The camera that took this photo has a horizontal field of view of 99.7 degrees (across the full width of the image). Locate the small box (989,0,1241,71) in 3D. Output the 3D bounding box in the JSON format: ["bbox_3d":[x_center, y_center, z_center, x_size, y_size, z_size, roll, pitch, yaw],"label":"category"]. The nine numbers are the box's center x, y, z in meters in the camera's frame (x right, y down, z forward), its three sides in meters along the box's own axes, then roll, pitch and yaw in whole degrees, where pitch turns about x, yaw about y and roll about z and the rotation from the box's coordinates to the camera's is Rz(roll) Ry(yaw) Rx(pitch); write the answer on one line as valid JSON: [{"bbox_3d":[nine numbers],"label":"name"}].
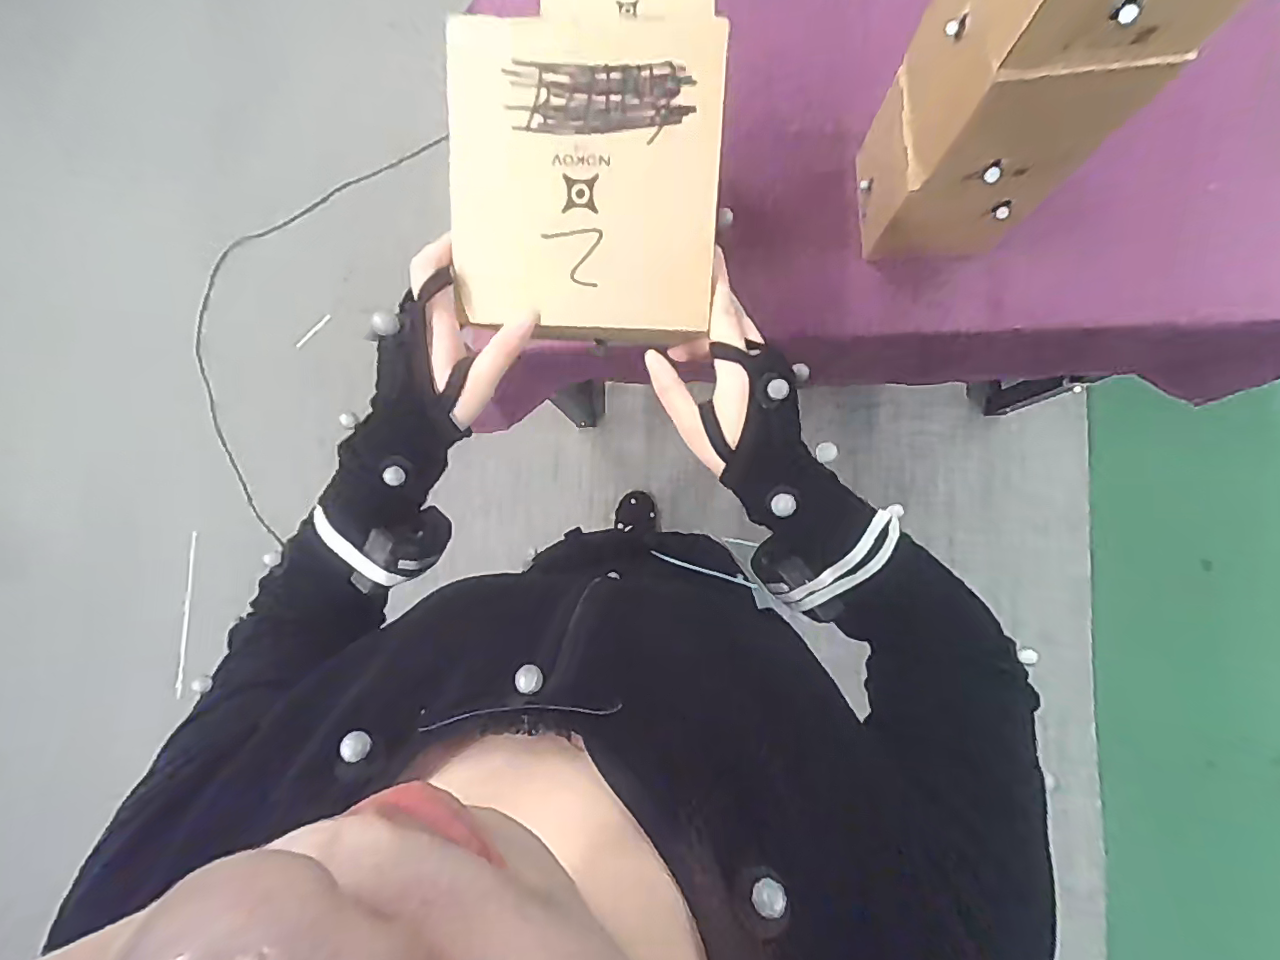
[{"bbox_3d":[0.381,-0.454,0.396,0.168,0.176,0.179,-4,86,5],"label":"small box"}]

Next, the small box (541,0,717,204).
[{"bbox_3d":[-0.003,-0.422,0.585,0.168,0.176,0.179,1,86,4],"label":"small box"}]

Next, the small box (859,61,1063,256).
[{"bbox_3d":[0.410,-0.417,0.718,0.179,0.176,0.168,-1,84,4],"label":"small box"}]

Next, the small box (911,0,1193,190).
[{"bbox_3d":[0.397,-0.434,0.556,0.168,0.176,0.179,-2,86,5],"label":"small box"}]

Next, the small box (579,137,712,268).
[{"bbox_3d":[0.012,-0.416,0.749,0.168,0.176,0.179,1,86,5],"label":"small box"}]
